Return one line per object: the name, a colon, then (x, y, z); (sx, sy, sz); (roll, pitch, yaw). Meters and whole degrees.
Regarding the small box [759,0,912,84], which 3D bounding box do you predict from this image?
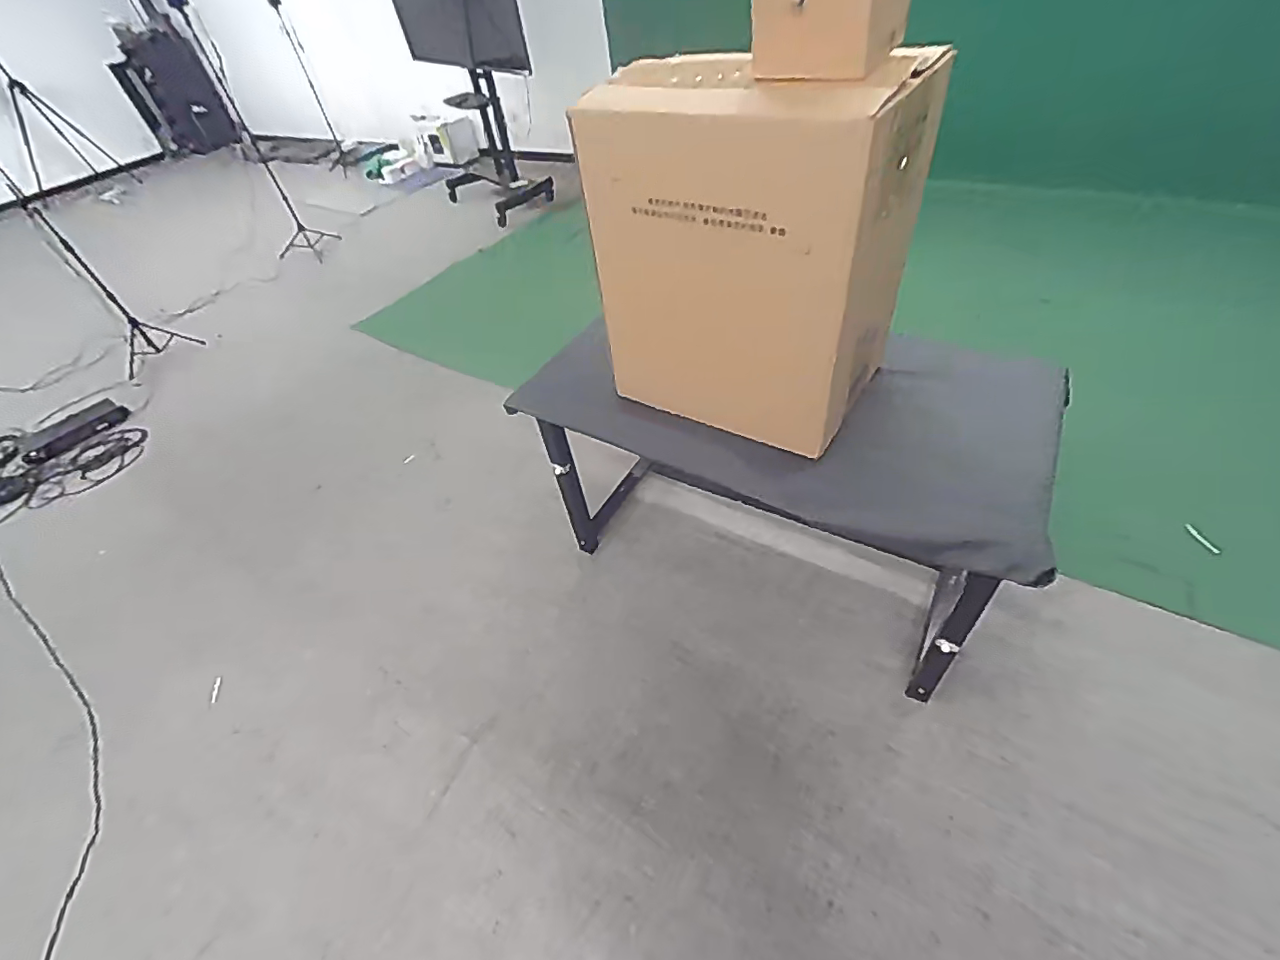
small box: (0.281, -0.696, 0.780); (0.179, 0.176, 0.168); (24, 61, 28)
